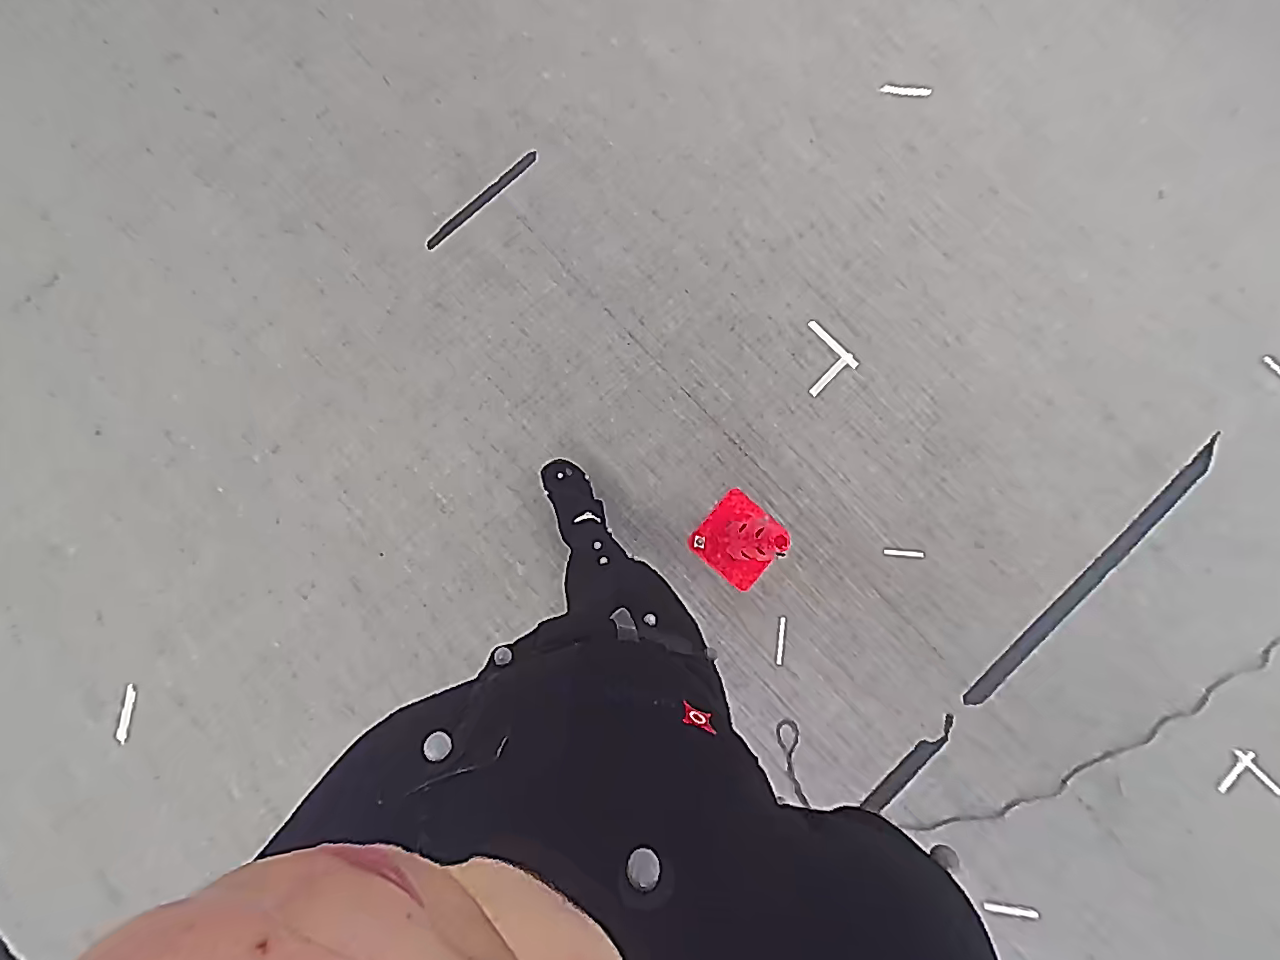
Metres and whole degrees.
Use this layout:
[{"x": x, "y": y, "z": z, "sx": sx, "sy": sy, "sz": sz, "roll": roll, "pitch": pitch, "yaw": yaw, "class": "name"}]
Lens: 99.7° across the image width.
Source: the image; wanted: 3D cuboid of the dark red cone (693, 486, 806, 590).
[{"x": 0.269, "y": 0.127, "z": 1.180, "sx": 0.201, "sy": 0.394, "sz": 0.202, "roll": 40, "pitch": 84, "yaw": 0, "class": "dark red cone"}]
